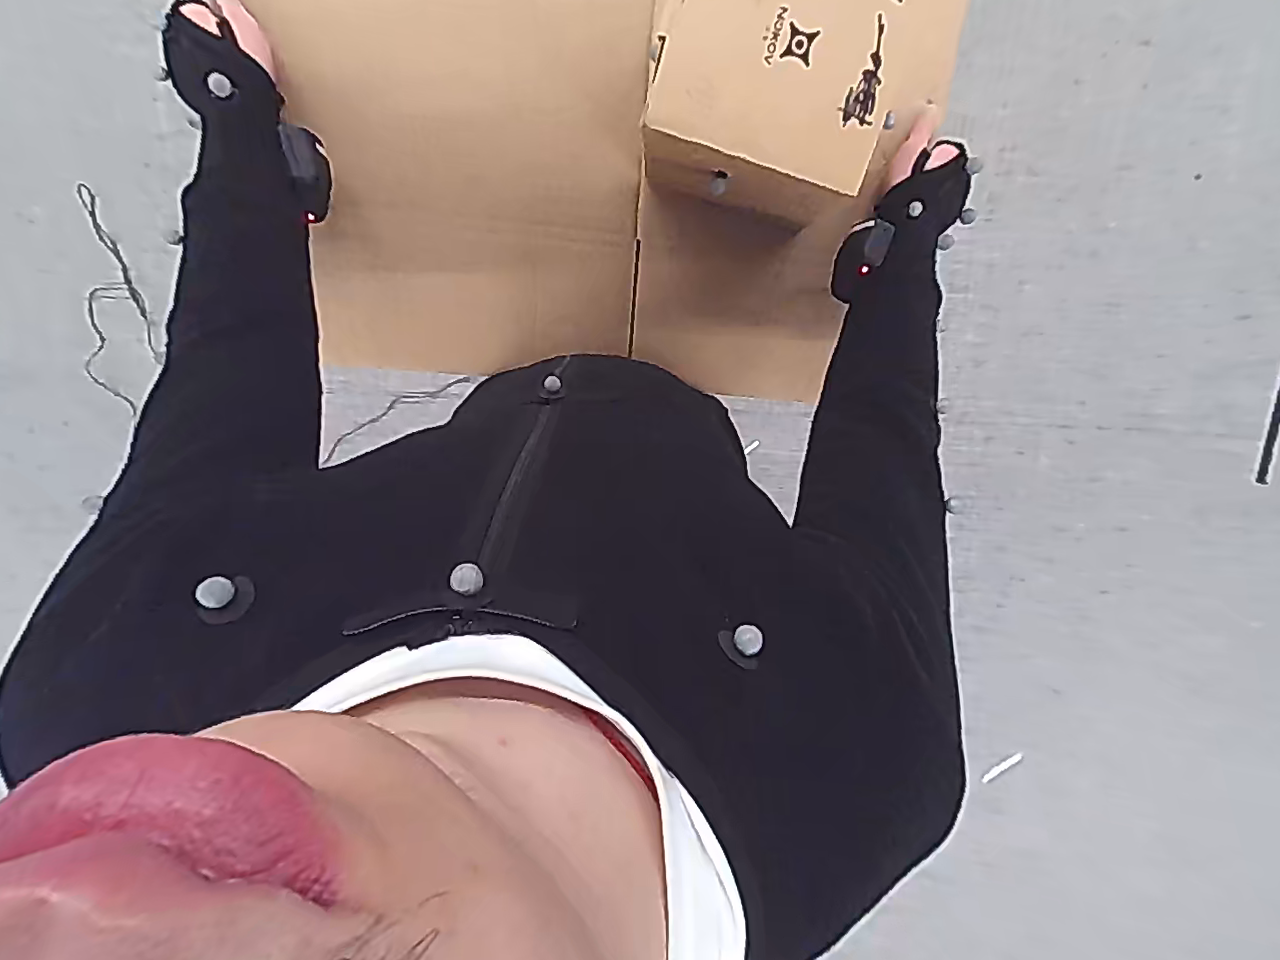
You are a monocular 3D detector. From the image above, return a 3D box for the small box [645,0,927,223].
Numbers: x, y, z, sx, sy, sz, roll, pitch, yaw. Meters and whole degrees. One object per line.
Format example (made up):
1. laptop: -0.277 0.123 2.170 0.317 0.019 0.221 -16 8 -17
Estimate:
1. small box: 0.113 -0.345 0.475 0.179 0.176 0.168 17 106 -2
